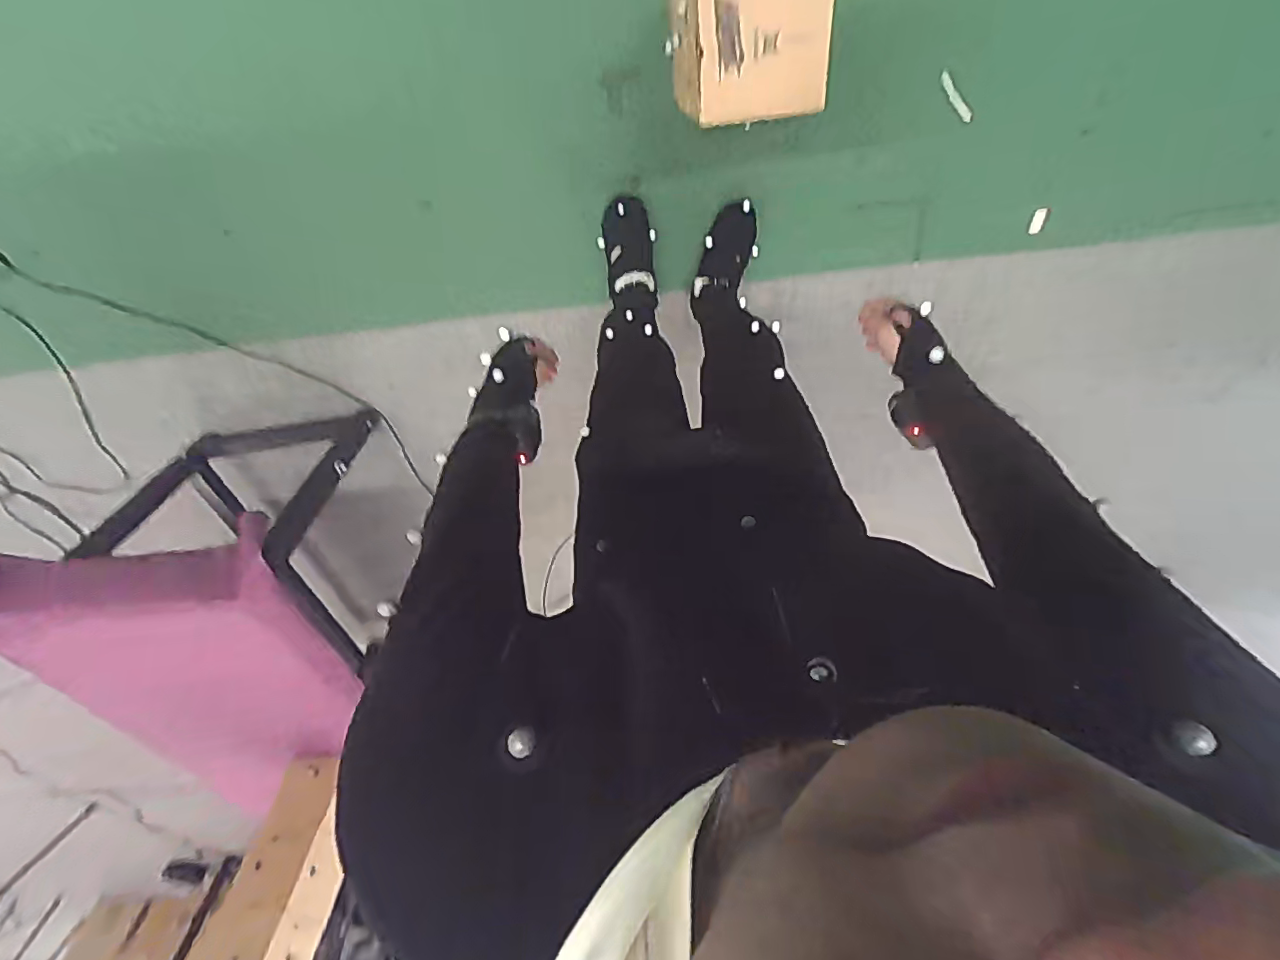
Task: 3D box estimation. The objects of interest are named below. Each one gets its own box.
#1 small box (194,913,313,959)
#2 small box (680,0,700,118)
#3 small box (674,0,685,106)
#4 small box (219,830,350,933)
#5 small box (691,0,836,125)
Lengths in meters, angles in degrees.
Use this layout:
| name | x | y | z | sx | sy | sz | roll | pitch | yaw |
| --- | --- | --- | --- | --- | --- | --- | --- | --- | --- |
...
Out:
| name | x | y | z | sx | sy | sz | roll | pitch | yaw |
| --- | --- | --- | --- | --- | --- | --- | --- | --- | --- |
| small box | -0.851 | 1.065 | 1.174 | 0.179 | 0.176 | 0.168 | -7 | 127 | 6 |
| small box | 0.162 | -0.719 | 0.901 | 0.179 | 0.176 | 0.168 | -4 | 128 | 4 |
| small box | 0.160 | -0.822 | 1.027 | 0.179 | 0.176 | 0.168 | -4 | 128 | 2 |
| small box | -0.843 | 0.965 | 1.303 | 0.168 | 0.176 | 0.179 | -6 | 128 | 6 |
| small box | 0.165 | -0.619 | 0.772 | 0.179 | 0.176 | 0.168 | -6 | 129 | 3 |
